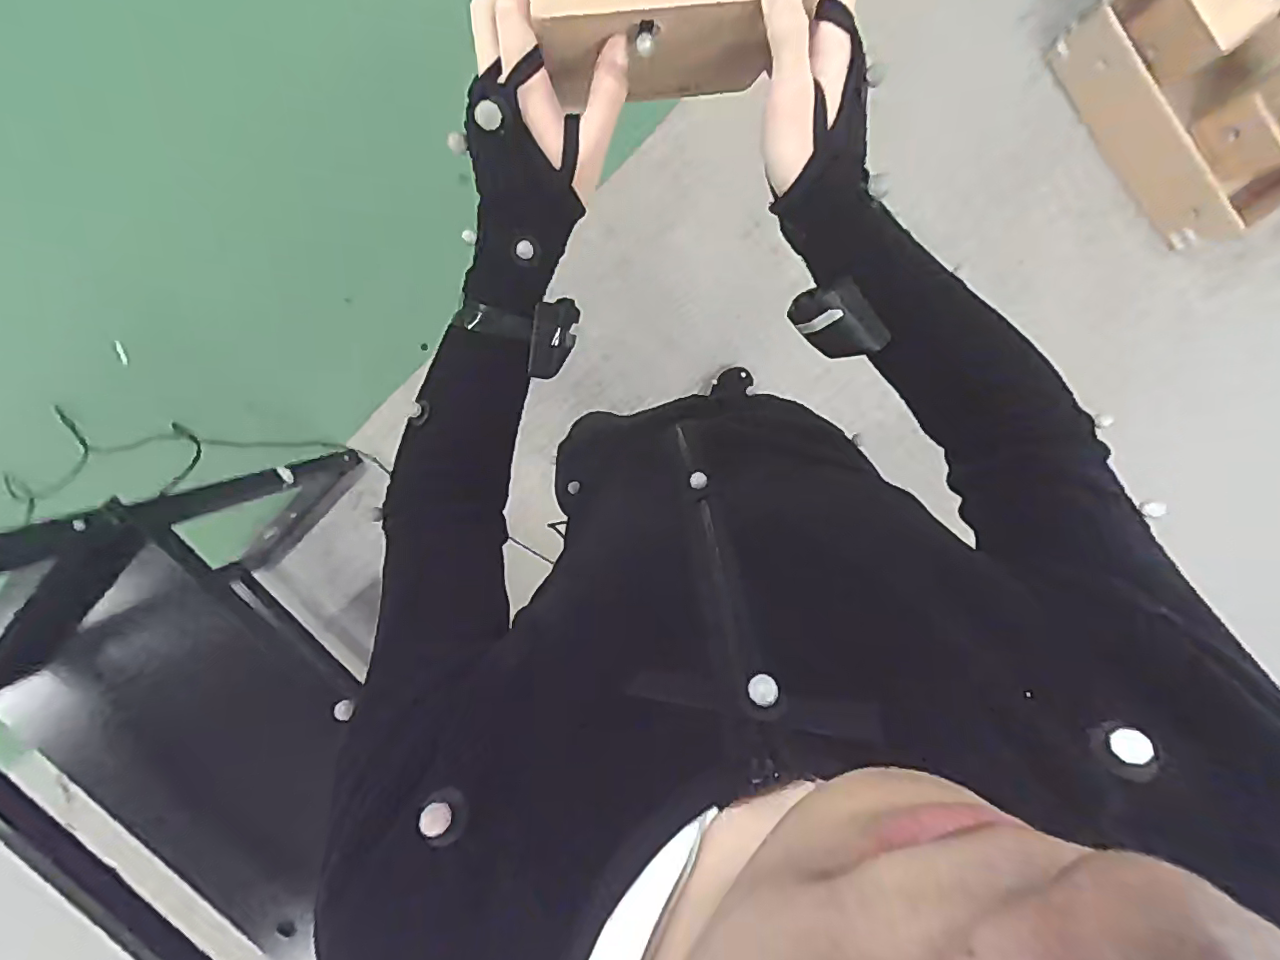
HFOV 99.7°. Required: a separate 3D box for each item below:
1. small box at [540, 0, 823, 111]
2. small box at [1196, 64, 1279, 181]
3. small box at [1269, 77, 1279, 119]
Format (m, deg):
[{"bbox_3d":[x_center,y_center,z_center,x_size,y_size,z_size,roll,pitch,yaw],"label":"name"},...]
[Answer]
[{"bbox_3d":[0.016,-0.373,0.356,0.168,0.176,0.179,-4,110,-1],"label":"small box"},{"bbox_3d":[1.403,-0.806,1.194,0.179,0.176,0.168,-38,95,12],"label":"small box"},{"bbox_3d":[1.388,-0.773,1.032,0.179,0.176,0.168,-38,95,12],"label":"small box"}]
